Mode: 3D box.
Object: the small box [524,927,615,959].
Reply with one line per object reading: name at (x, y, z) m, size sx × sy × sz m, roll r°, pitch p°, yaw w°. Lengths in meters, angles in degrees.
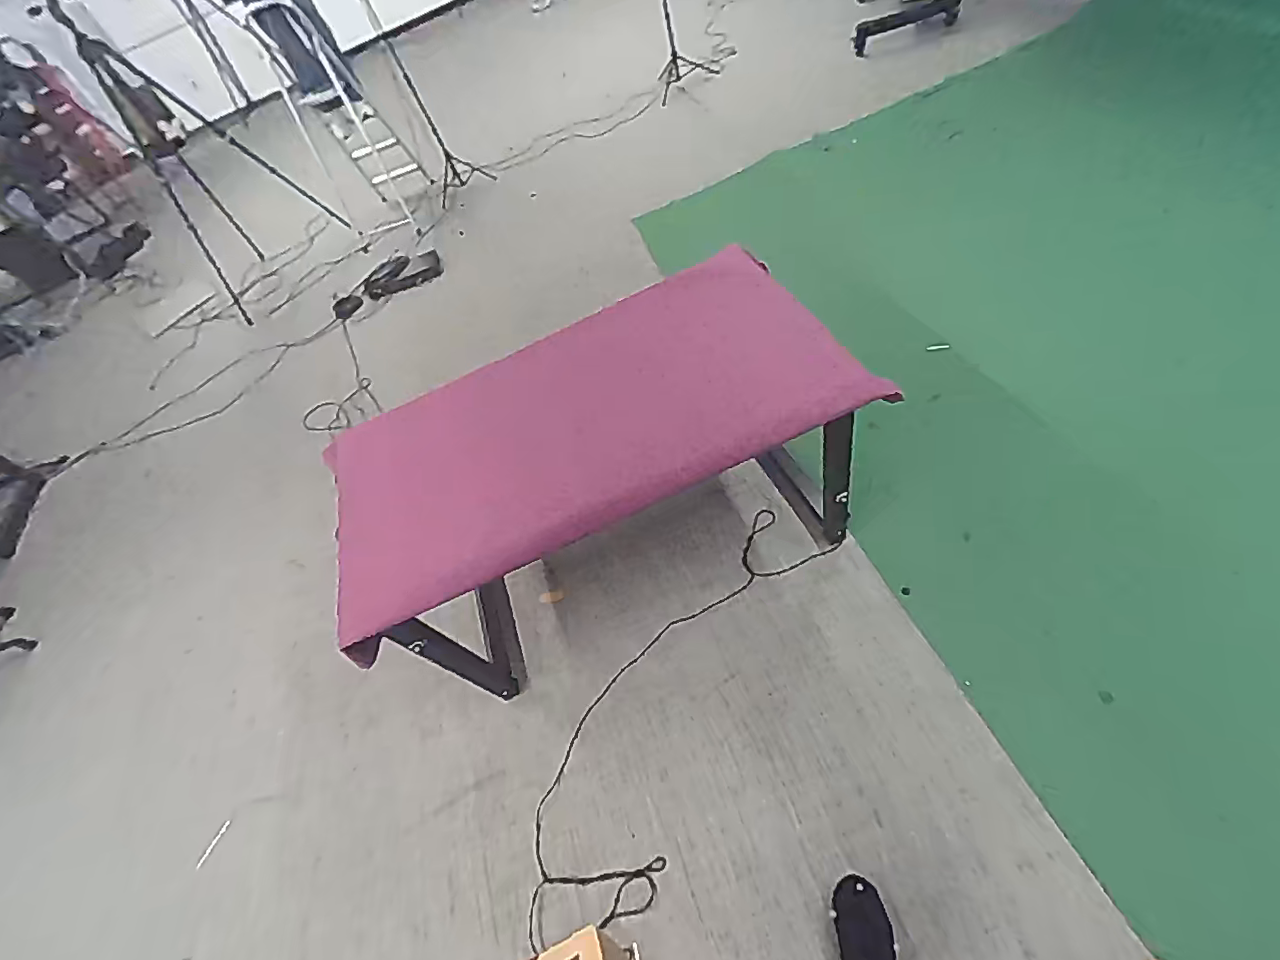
small box at (-0.091, 0.692, 0.644) m, size 0.168 × 0.176 × 0.179 m, roll -23°, pitch 38°, yaw -9°
